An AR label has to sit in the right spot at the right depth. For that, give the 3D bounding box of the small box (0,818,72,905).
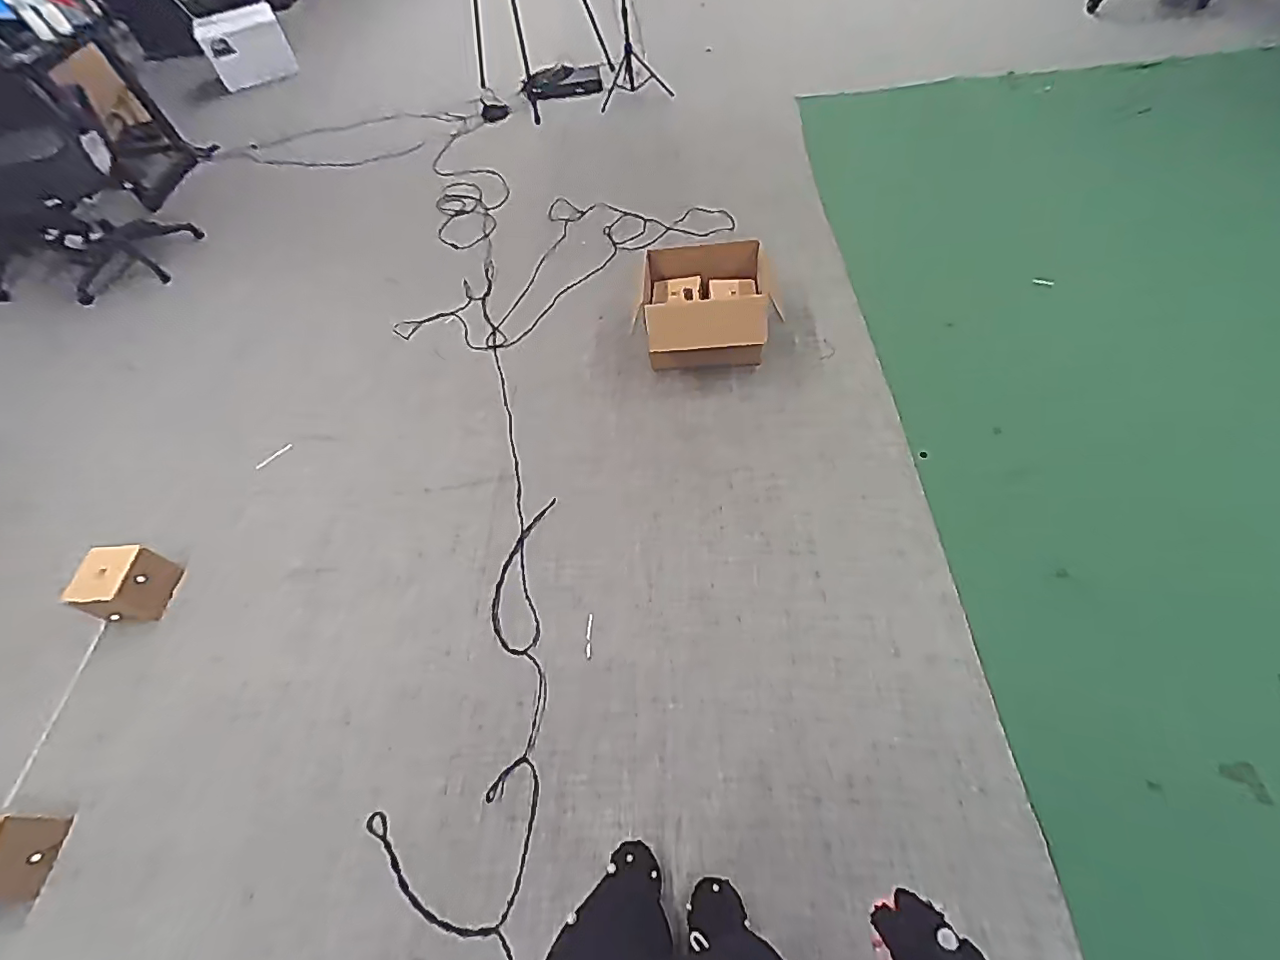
[{"bbox_3d":[-1.517,0.888,1.259,0.179,0.176,0.168,-5,57,4],"label":"small box"}]

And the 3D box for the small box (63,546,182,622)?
[{"bbox_3d":[-1.549,0.317,1.636,0.168,0.176,0.179,-4,57,4],"label":"small box"}]
